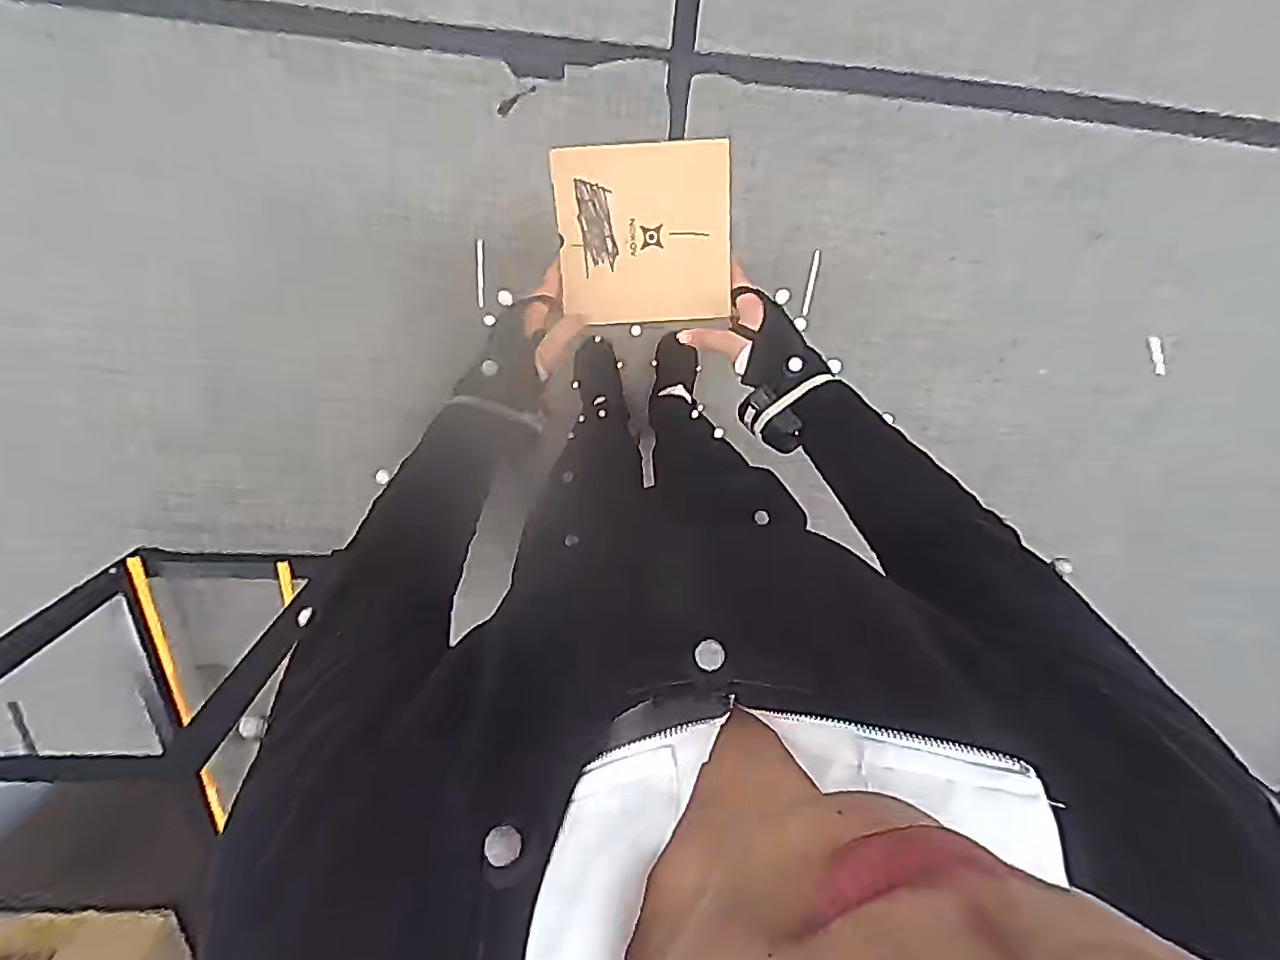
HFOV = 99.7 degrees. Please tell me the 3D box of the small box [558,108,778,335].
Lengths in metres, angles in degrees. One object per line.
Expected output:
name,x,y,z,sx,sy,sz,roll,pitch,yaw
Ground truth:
small box,0.026,-0.228,0.521,0.179,0.176,0.168,-4,106,0
